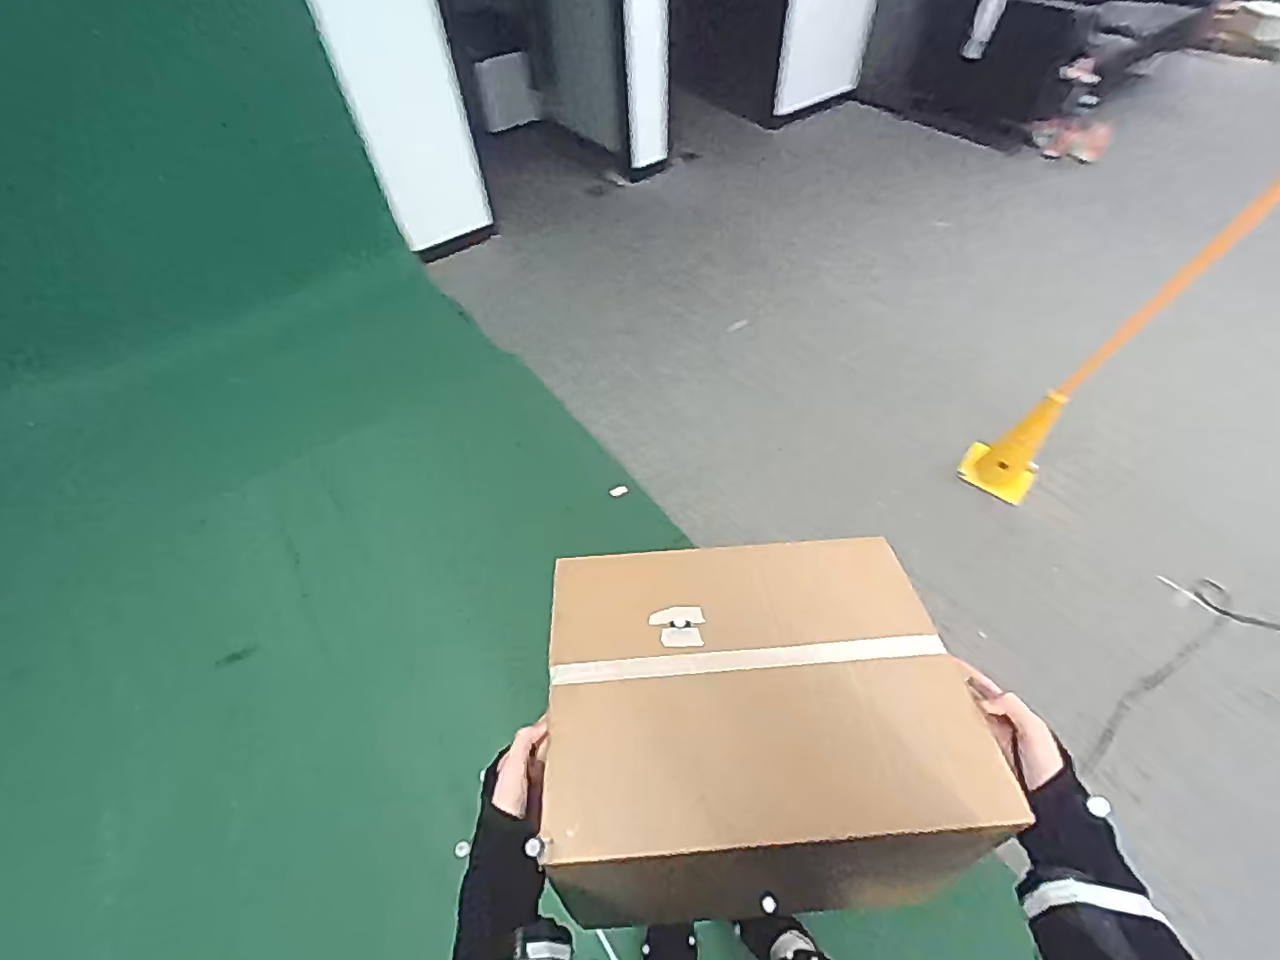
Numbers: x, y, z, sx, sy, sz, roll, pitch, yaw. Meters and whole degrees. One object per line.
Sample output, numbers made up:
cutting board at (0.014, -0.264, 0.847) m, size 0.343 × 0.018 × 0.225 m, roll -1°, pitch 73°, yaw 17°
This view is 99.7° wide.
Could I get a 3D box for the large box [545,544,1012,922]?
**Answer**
large box at (0.116, 0.306, 0.658) m, size 0.408 × 0.320 × 0.320 m, roll -4°, pitch 42°, yaw -1°
